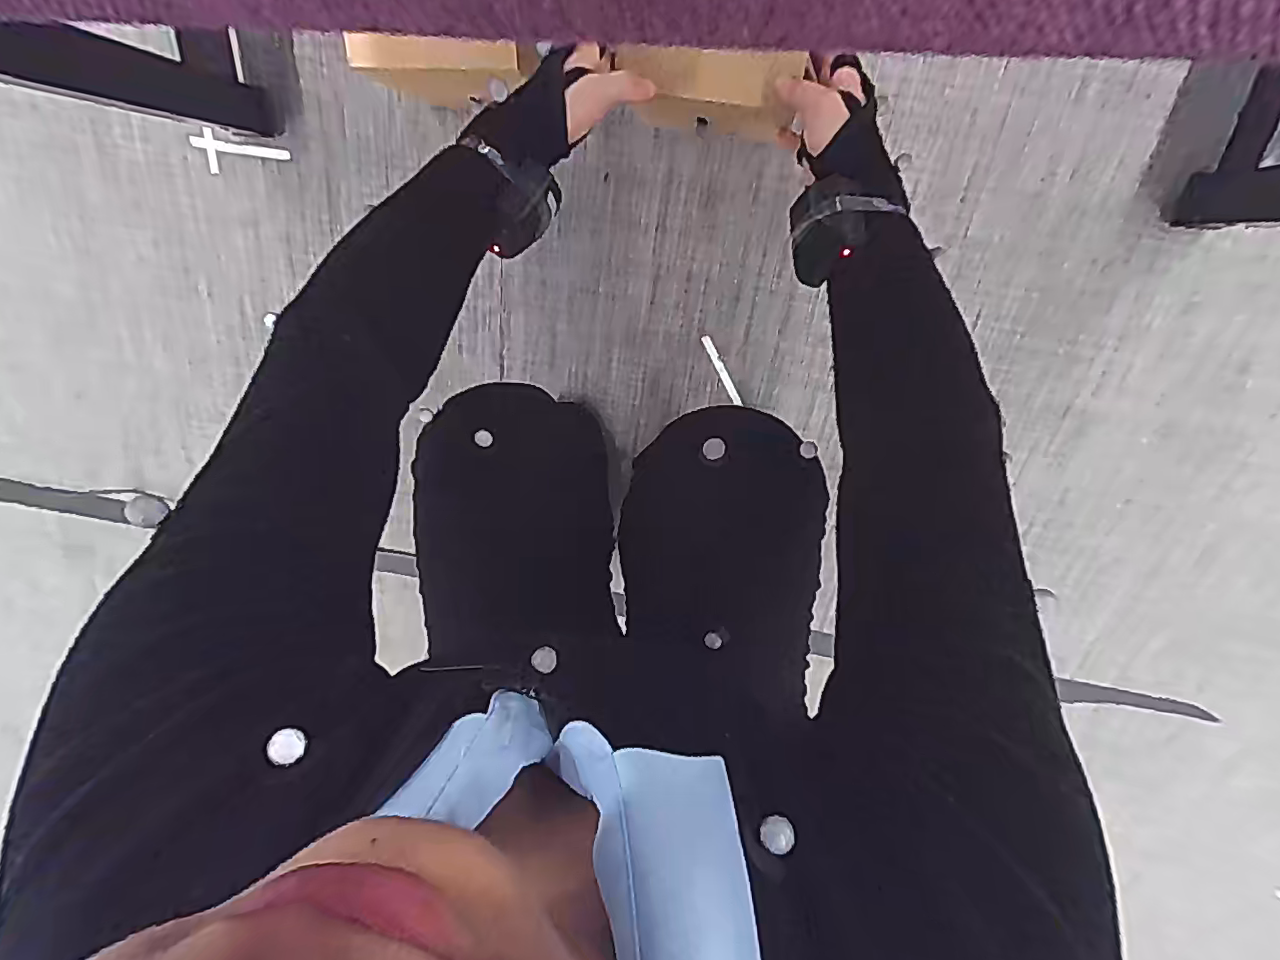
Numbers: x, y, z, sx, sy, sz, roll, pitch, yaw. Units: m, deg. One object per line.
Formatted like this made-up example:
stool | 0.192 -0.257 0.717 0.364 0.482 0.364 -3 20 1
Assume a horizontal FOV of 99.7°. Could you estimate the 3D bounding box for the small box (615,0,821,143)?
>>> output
small box | 0.084 -0.444 0.517 0.168 0.176 0.179 13 114 5
